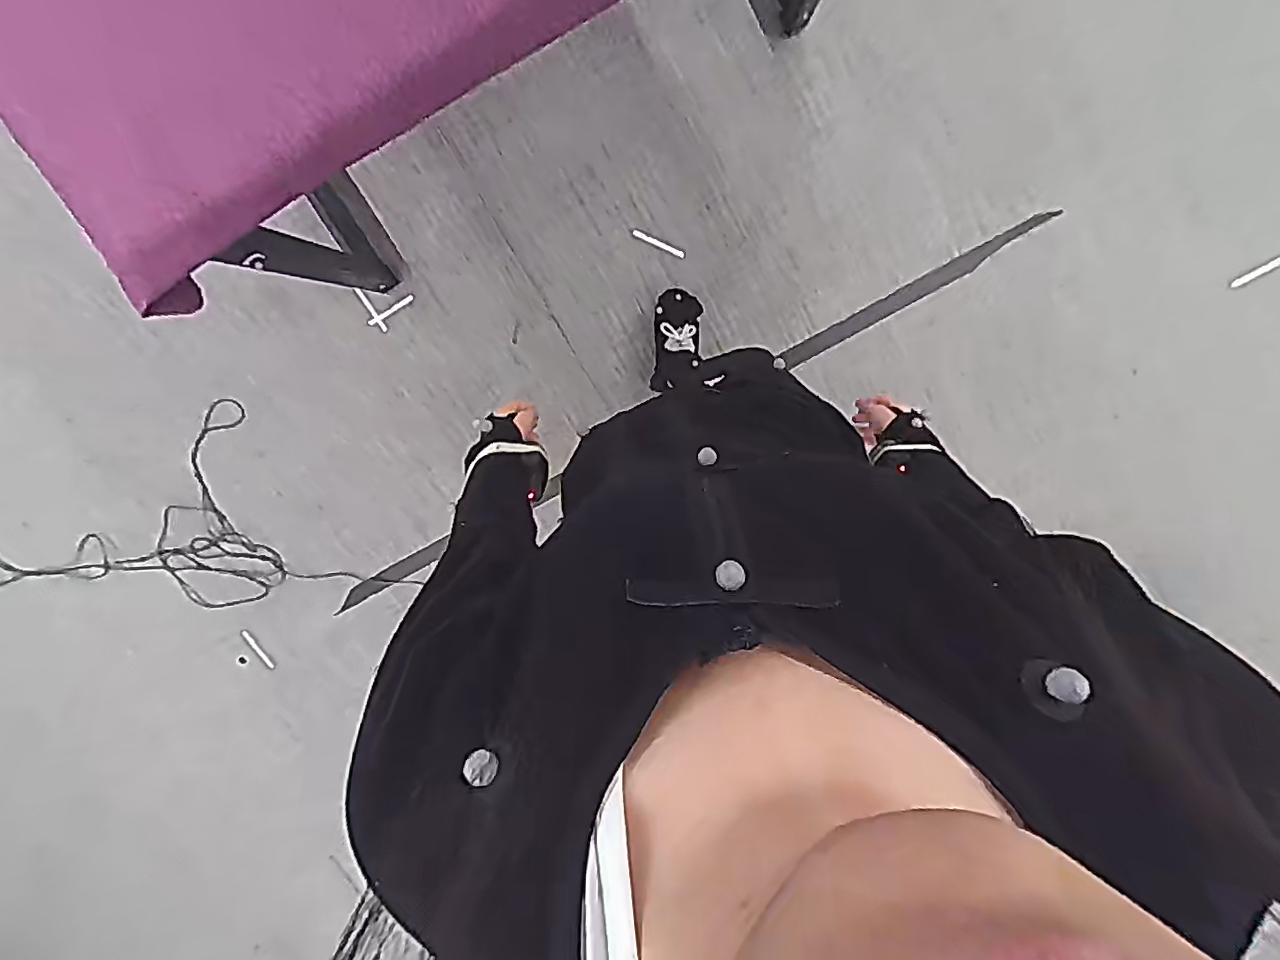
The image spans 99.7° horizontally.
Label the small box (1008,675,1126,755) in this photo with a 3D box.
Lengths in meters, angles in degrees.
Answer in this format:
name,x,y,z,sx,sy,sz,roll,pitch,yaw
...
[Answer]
name,x,y,z,sx,sy,sz,roll,pitch,yaw
small box,1.232,0.697,1.571,0.179,0.176,0.168,19,102,-6
